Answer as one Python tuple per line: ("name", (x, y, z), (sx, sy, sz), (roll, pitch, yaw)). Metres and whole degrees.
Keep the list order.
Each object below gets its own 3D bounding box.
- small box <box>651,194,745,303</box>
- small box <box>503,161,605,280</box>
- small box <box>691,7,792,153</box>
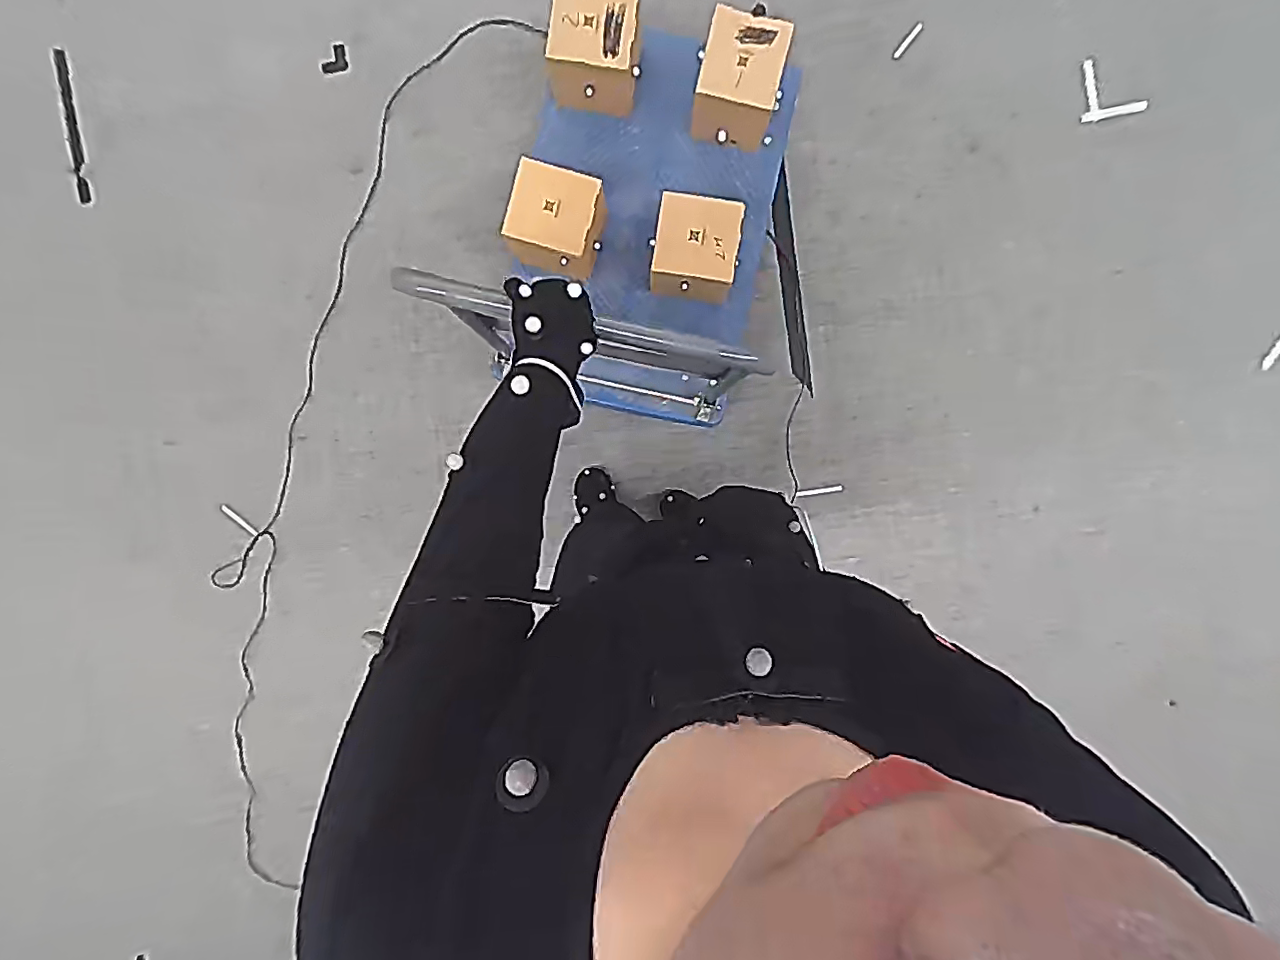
("small box", (0.121, -0.506, 1.202), (0.179, 0.176, 0.168), (9, 94, 0))
("small box", (-0.184, -0.564, 1.200), (0.179, 0.176, 0.168), (15, 93, -2))
("small box", (0.211, -0.861, 1.180), (0.168, 0.176, 0.179), (14, 95, 0))
